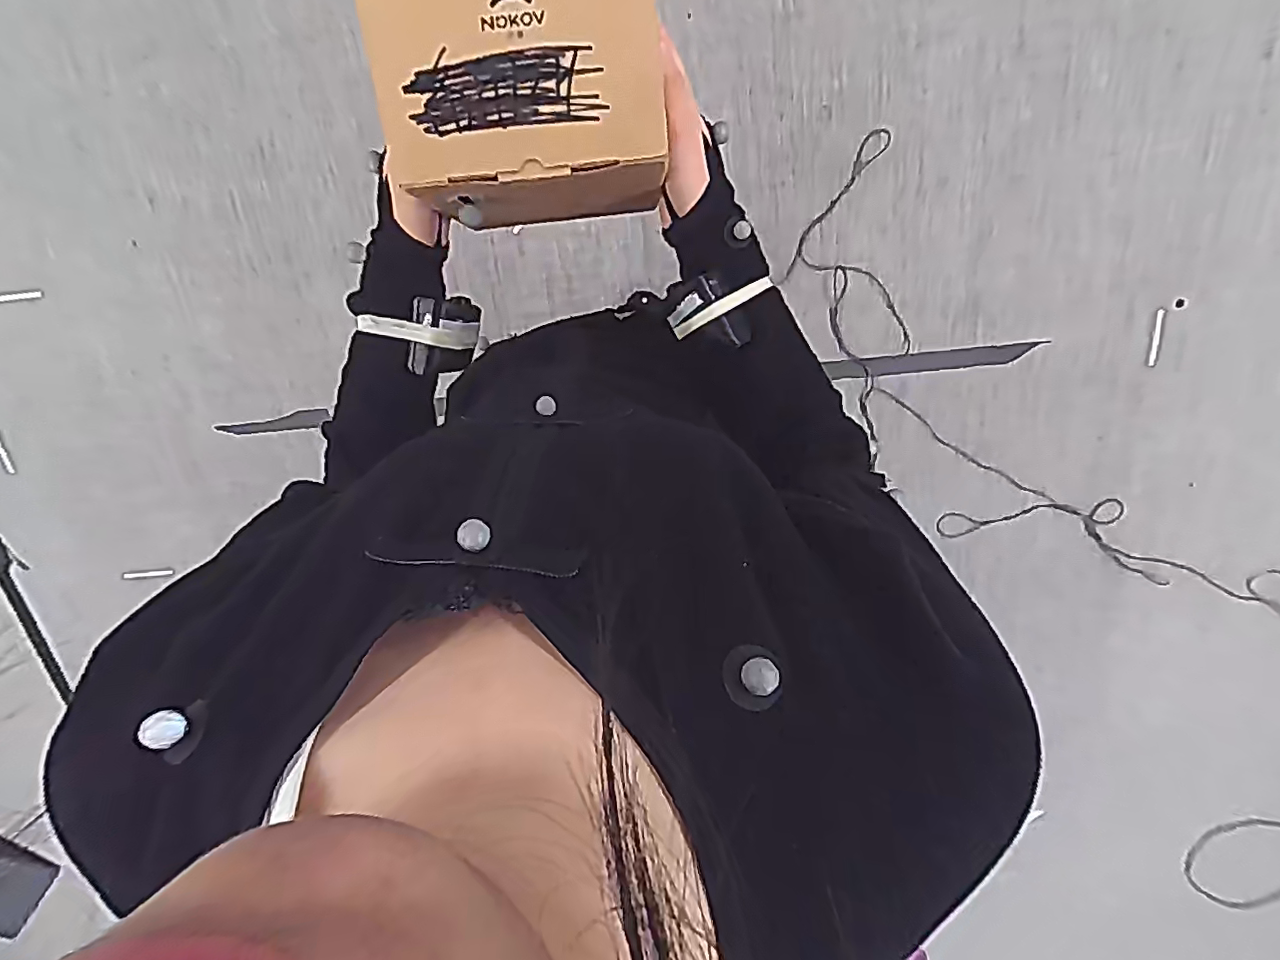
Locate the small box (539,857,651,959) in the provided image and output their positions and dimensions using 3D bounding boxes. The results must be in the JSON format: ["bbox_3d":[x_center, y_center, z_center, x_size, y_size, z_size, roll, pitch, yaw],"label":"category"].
[{"bbox_3d":[-0.067,0.779,0.911,0.168,0.176,0.179,-4,108,1],"label":"small box"}]
